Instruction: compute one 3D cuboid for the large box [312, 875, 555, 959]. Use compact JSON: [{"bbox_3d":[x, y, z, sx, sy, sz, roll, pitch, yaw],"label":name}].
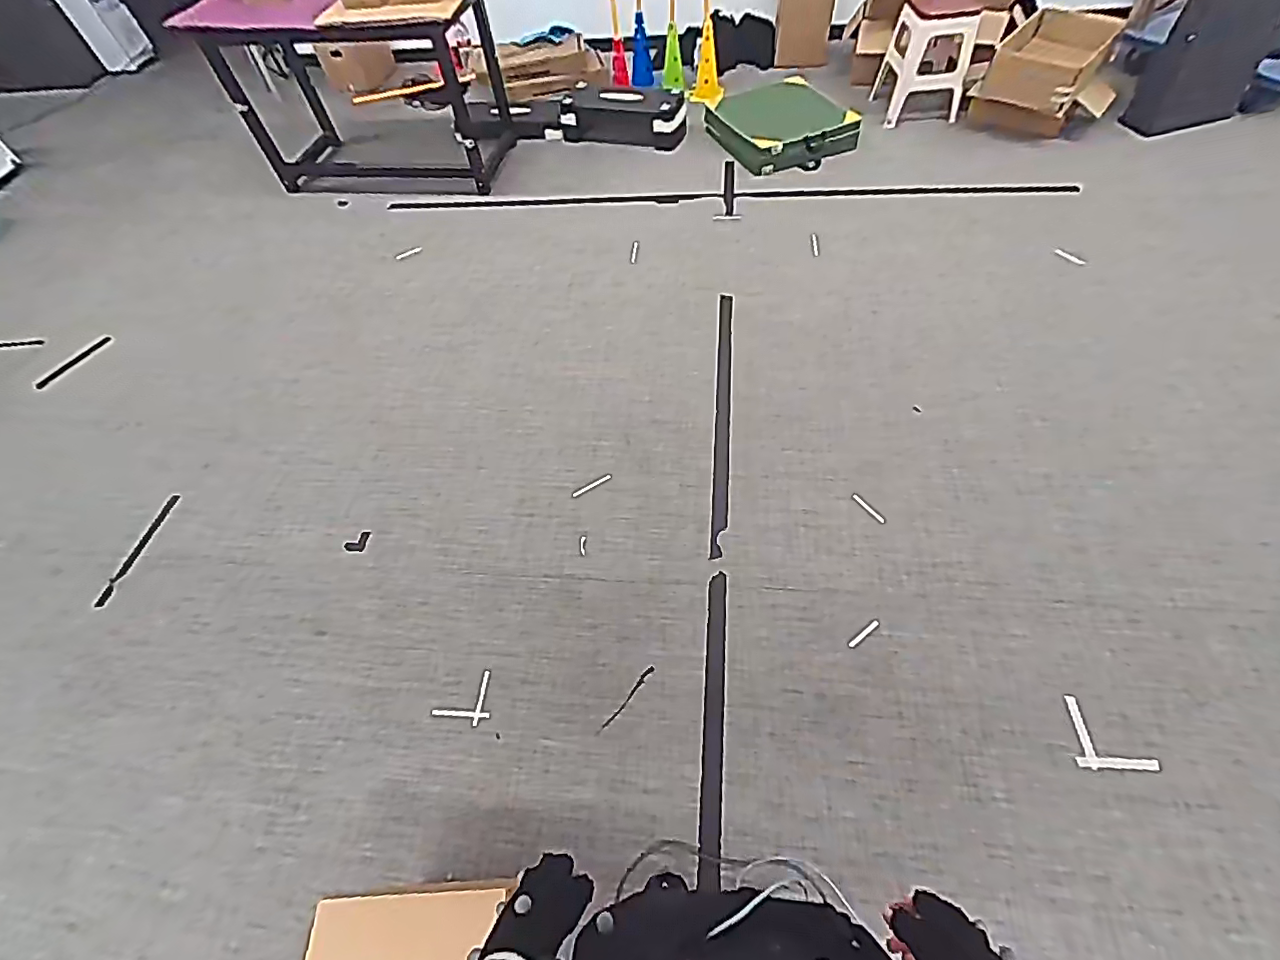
[{"bbox_3d":[-0.346,0.911,0.956,0.320,0.408,0.320,-3,57,2],"label":"large box"}]
